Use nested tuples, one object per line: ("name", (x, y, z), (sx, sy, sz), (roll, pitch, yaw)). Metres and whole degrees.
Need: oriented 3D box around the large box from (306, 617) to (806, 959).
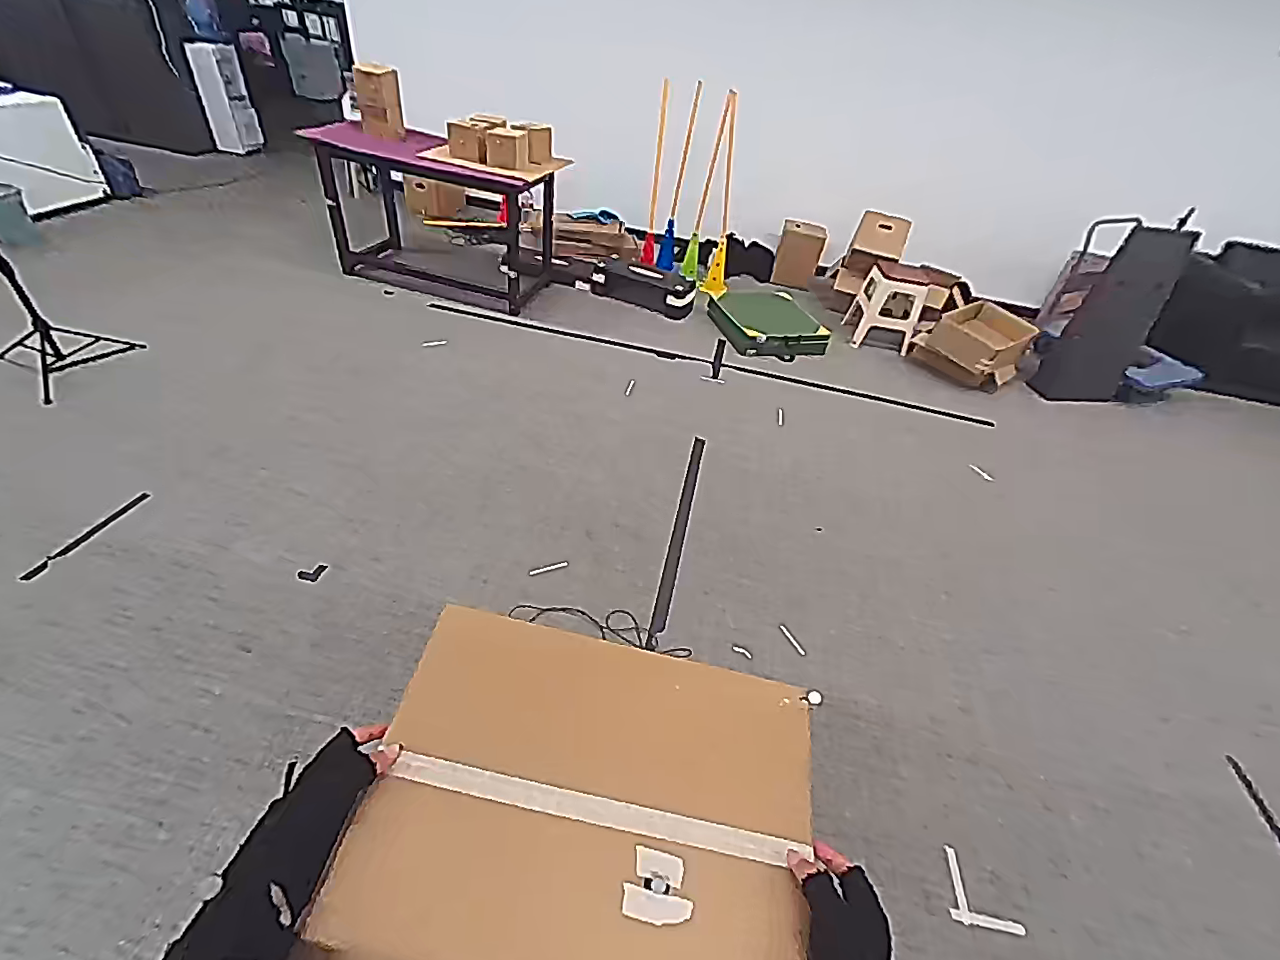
("large box", (-0.063, 0.400, 0.615), (0.408, 0.320, 0.320), (13, 51, 0))
